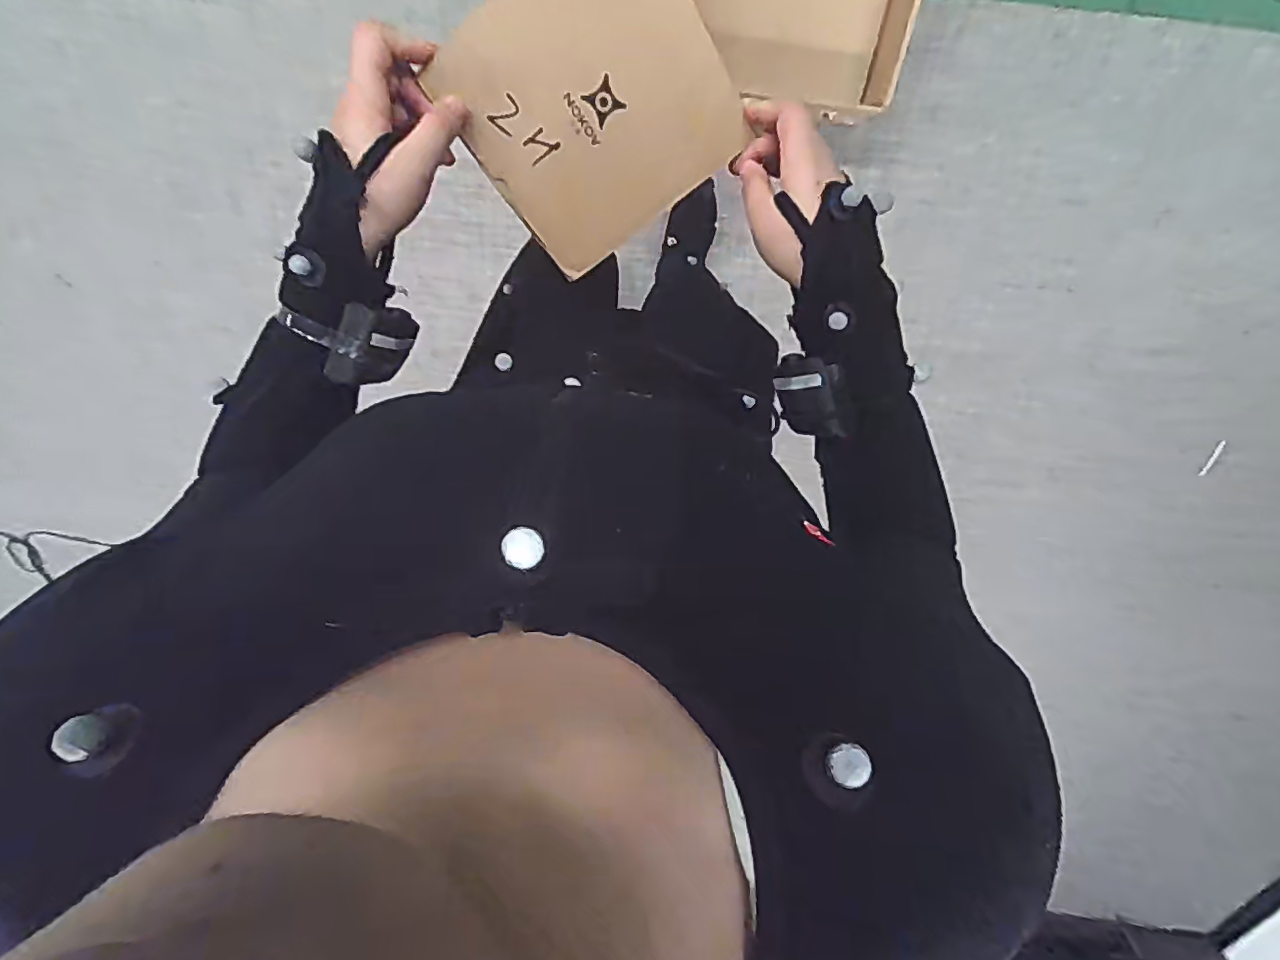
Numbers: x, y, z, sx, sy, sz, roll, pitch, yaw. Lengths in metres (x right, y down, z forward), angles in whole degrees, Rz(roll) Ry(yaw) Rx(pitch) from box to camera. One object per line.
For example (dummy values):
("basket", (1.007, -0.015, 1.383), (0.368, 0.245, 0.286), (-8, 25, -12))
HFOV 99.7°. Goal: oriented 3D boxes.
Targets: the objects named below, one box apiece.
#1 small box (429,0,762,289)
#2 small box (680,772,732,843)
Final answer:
("small box", (-0.032, -0.295, 0.437), (0.179, 0.176, 0.168), (-31, 121, 18))
("small box", (0.237, 1.202, 1.992), (0.179, 0.176, 0.168), (1, 121, 2))
